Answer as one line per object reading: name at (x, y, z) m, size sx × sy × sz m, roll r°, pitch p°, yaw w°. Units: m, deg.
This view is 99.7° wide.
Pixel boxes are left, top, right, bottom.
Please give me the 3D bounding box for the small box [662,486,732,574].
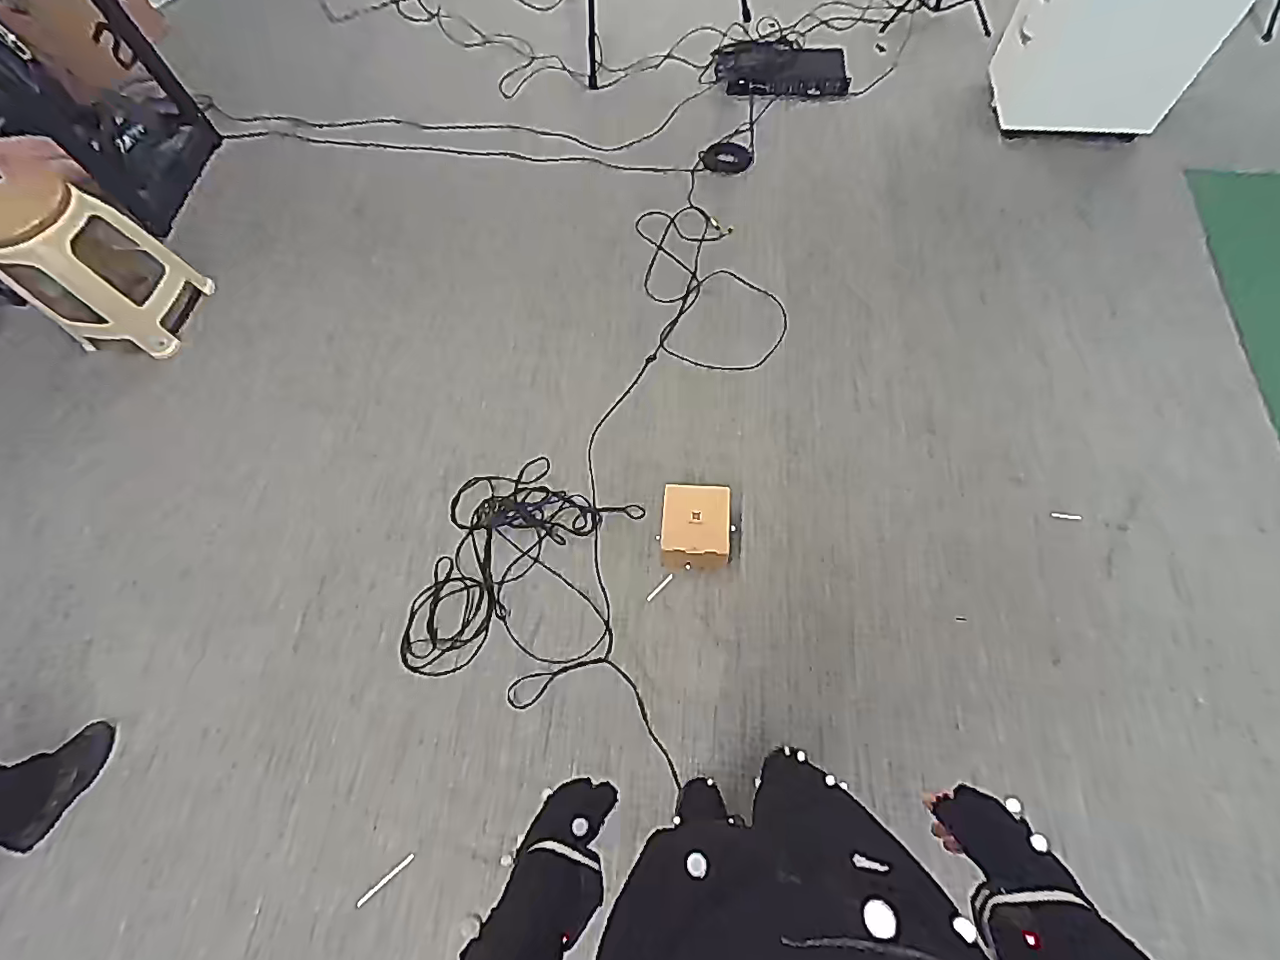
small box at (0.146, 0.132, 1.401) m, size 0.168 × 0.176 × 0.179 m, roll 3°, pitch 66°, yaw 6°
